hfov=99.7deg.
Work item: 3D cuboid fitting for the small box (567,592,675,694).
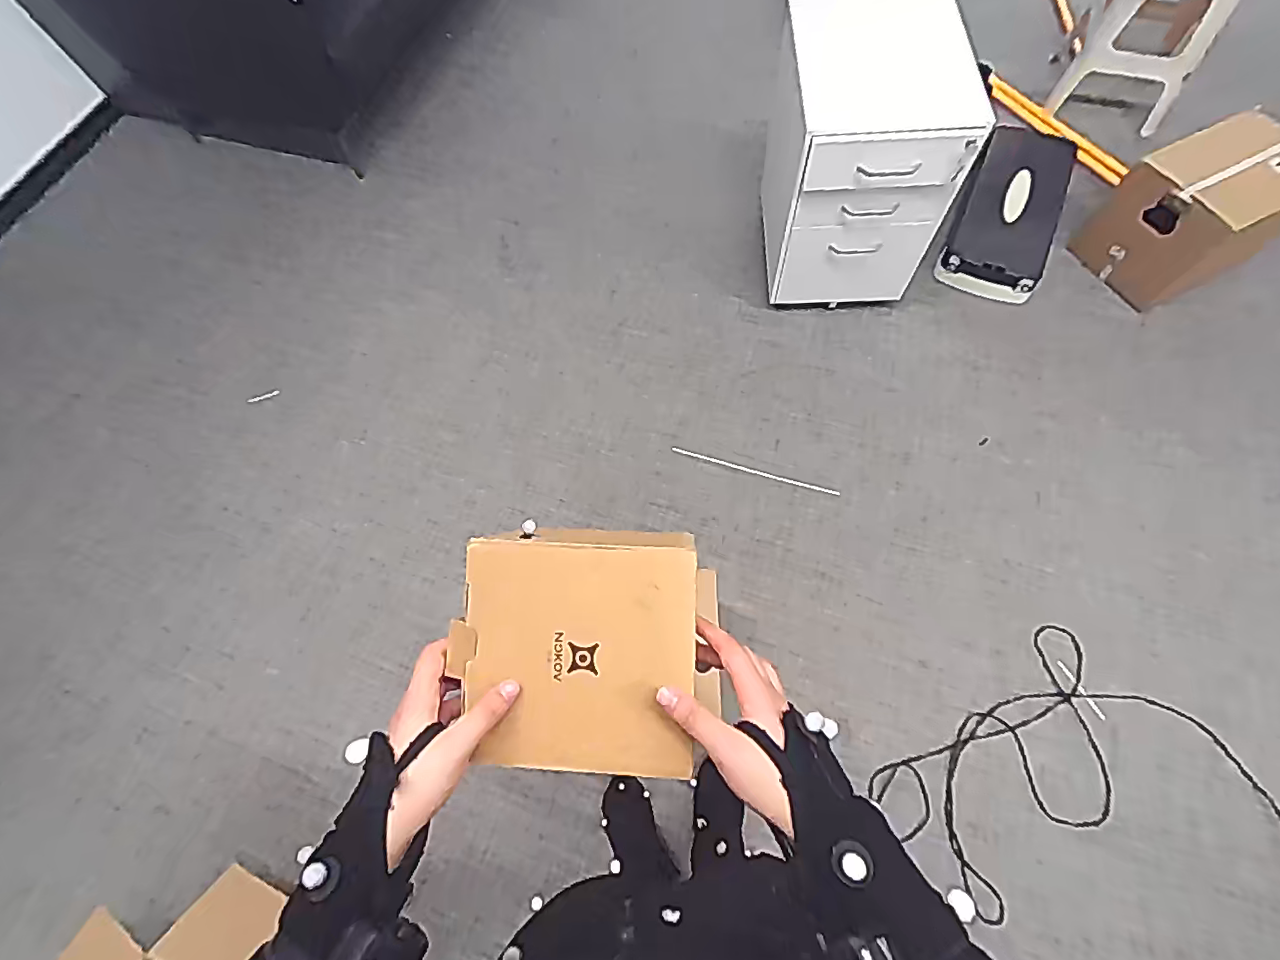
[{"bbox_3d":[-0.027,0.303,0.997,0.179,0.176,0.168,-1,68,4],"label":"small box"}]
